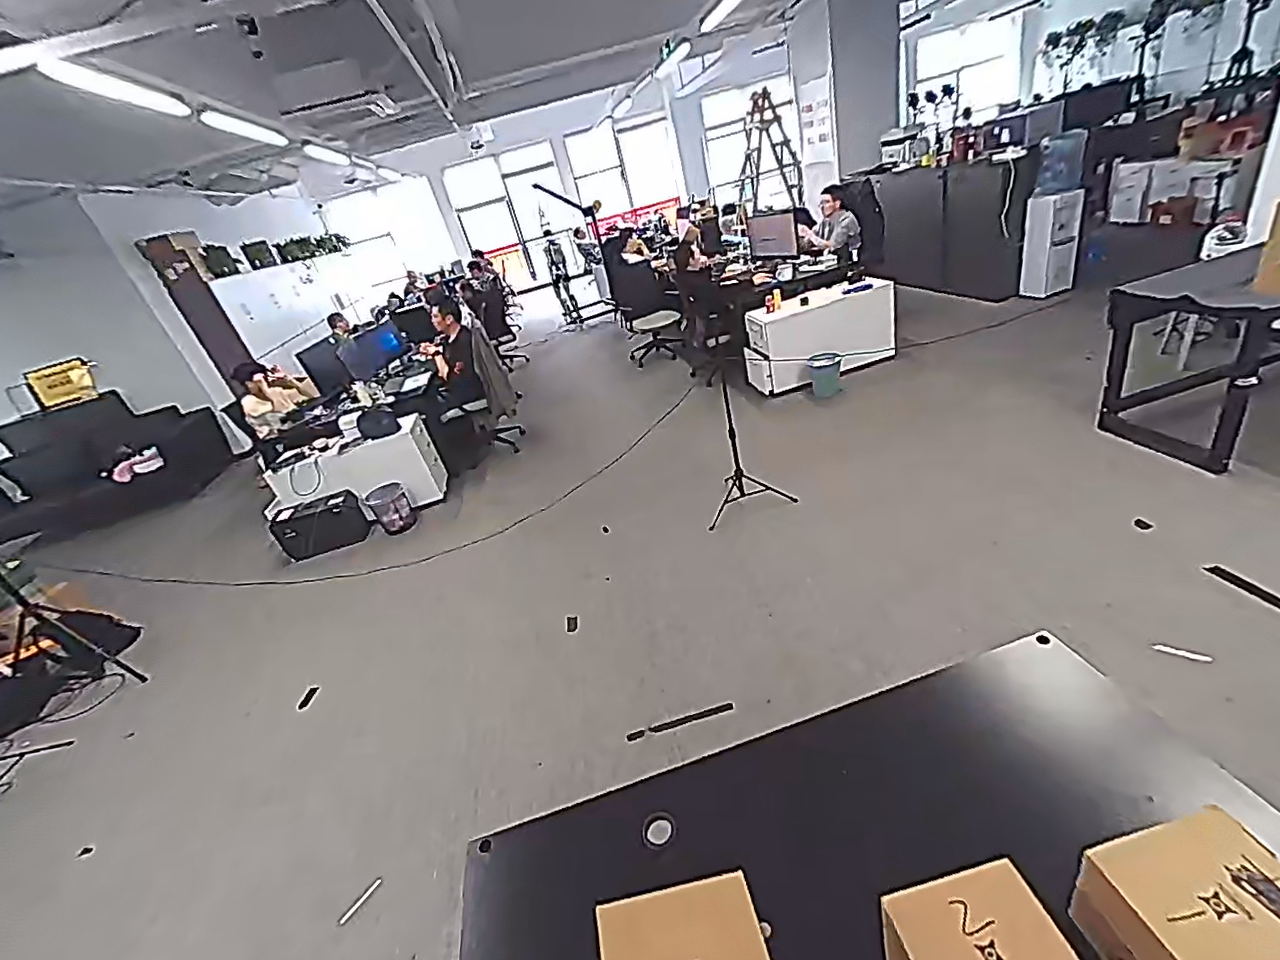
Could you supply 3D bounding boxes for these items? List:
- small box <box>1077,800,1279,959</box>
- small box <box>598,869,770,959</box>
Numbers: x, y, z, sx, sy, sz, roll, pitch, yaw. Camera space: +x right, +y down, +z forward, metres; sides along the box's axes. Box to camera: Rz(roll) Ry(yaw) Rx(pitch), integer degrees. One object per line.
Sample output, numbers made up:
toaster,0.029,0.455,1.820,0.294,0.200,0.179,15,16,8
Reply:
small box,0.645,0.512,0.615,0.179,0.176,0.168,-19,28,-1
small box,0.053,0.551,0.556,0.168,0.176,0.179,-9,33,-8
